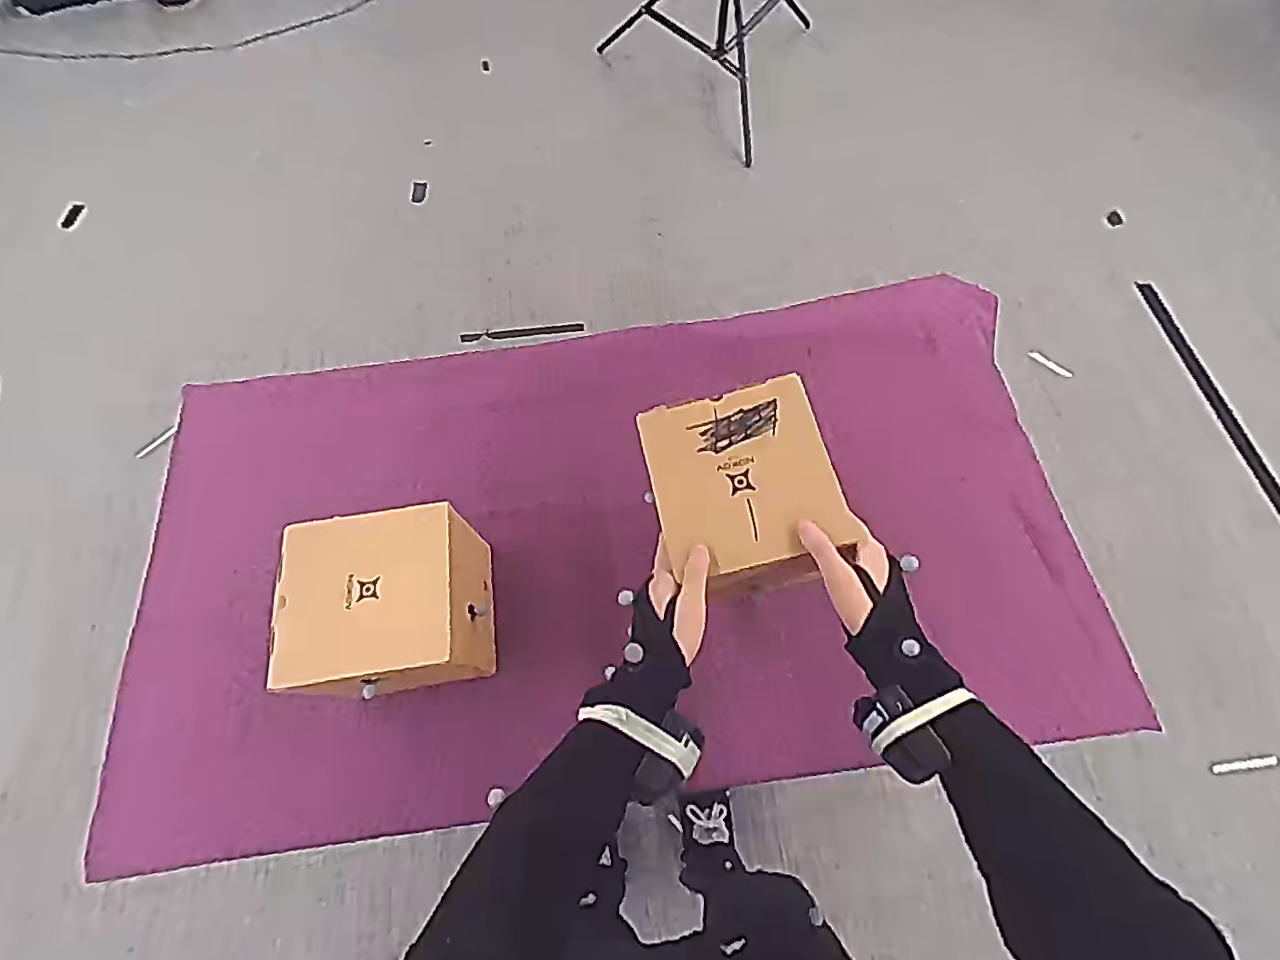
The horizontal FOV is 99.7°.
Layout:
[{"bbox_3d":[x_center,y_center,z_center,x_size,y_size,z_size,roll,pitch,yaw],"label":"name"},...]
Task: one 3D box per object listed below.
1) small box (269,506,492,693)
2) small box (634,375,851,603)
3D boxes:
[{"bbox_3d":[-0.274,0.143,0.615,0.179,0.176,0.168,-9,67,-1],"label":"small box"},{"bbox_3d":[0.098,0.020,0.573,0.168,0.176,0.179,-14,69,4],"label":"small box"}]
